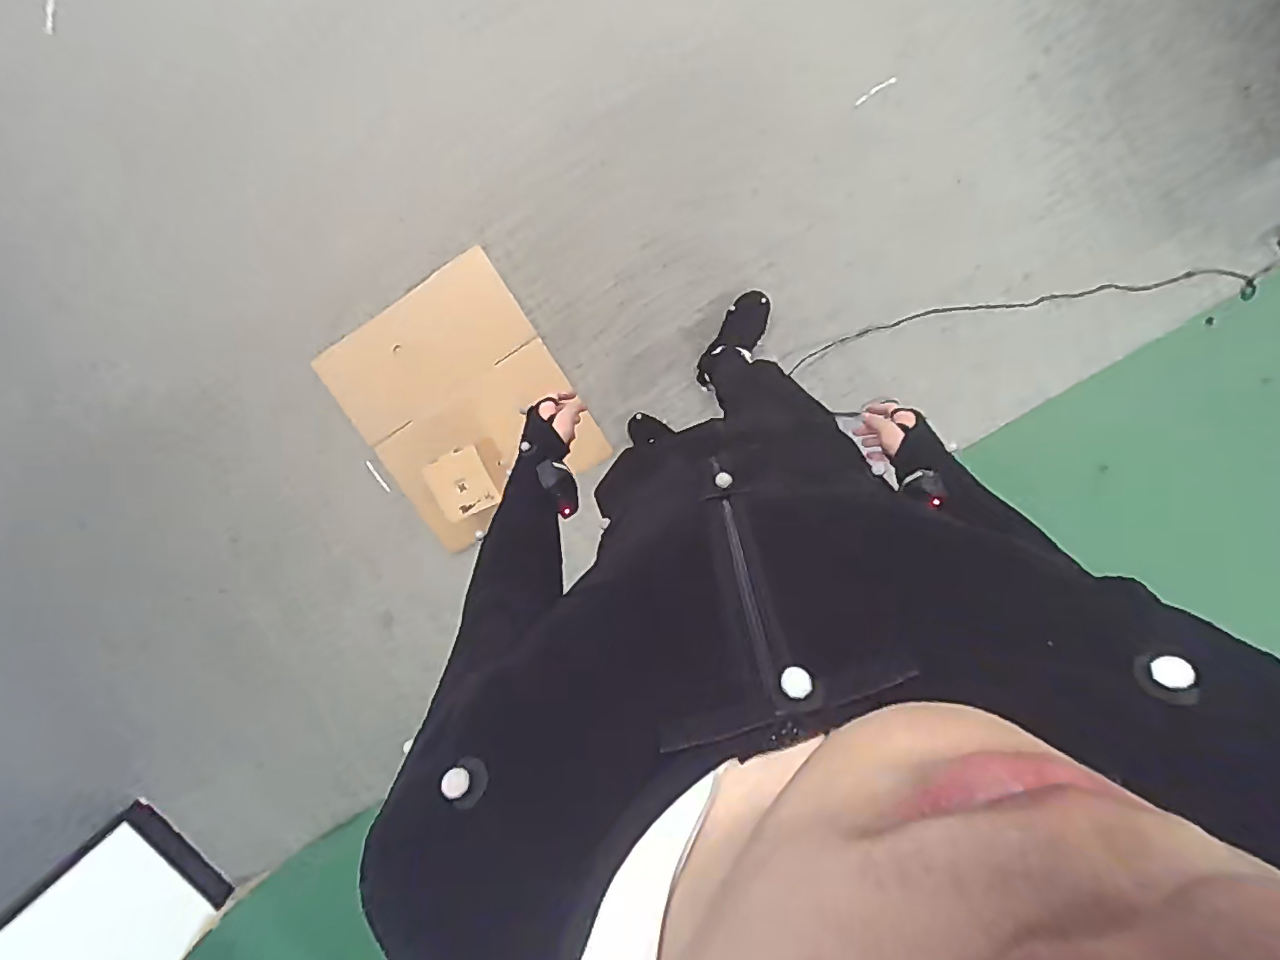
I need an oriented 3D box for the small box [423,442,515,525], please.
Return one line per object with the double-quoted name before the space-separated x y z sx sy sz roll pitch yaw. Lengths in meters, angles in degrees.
"small box" -0.478 0.001 1.538 0.168 0.176 0.179 -24 101 5
